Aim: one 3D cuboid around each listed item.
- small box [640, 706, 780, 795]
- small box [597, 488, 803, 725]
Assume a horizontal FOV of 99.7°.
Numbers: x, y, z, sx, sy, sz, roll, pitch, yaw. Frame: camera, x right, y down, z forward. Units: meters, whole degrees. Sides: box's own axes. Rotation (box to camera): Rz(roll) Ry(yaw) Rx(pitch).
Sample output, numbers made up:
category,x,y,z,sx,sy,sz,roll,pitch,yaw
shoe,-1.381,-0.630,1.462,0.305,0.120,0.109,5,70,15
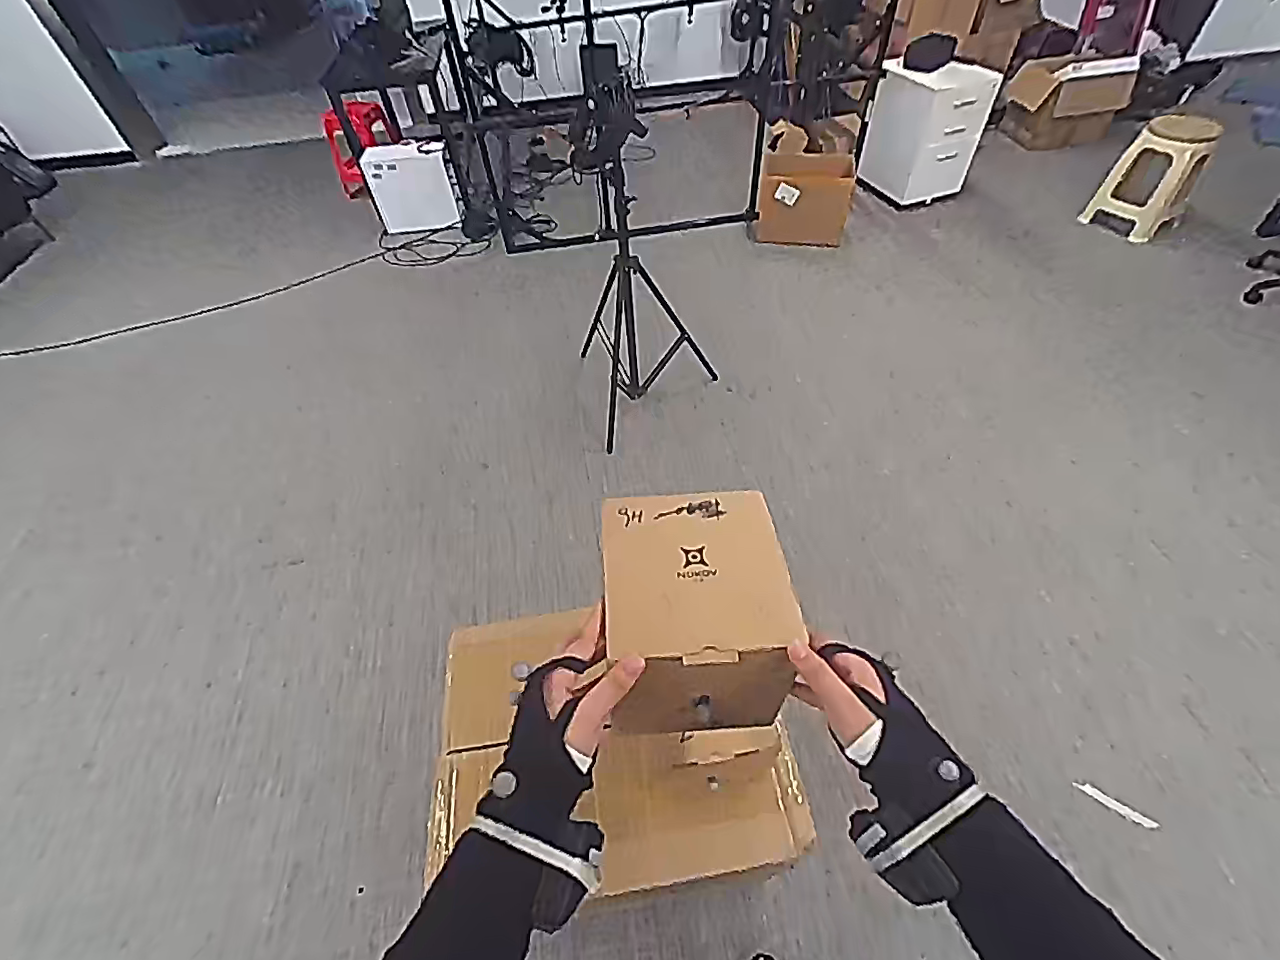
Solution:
category,x,y,z,sx,sy,sz,roll,pitch,yaw
small box,0.080,0.316,0.754,0.168,0.176,0.179,-10,51,-2
small box,0.045,0.131,0.541,0.168,0.176,0.179,-3,48,-4
